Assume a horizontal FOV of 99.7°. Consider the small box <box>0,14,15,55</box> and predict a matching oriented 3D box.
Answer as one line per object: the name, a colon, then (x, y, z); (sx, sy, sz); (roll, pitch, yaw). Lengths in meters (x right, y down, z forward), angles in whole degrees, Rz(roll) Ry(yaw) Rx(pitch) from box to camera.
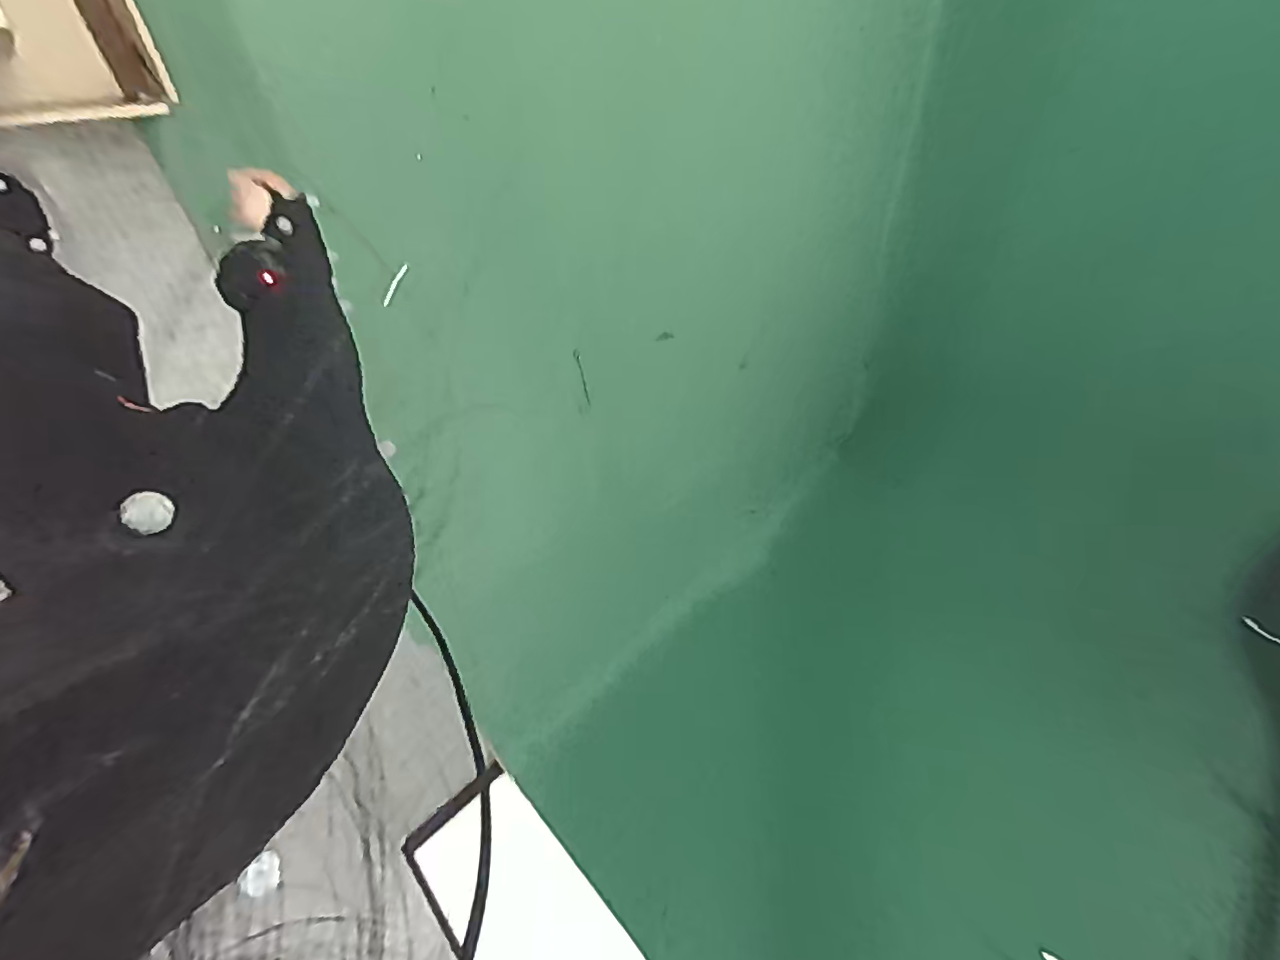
small box: (-0.835, -0.556, 0.572); (0.179, 0.176, 0.168); (-31, 133, -31)
